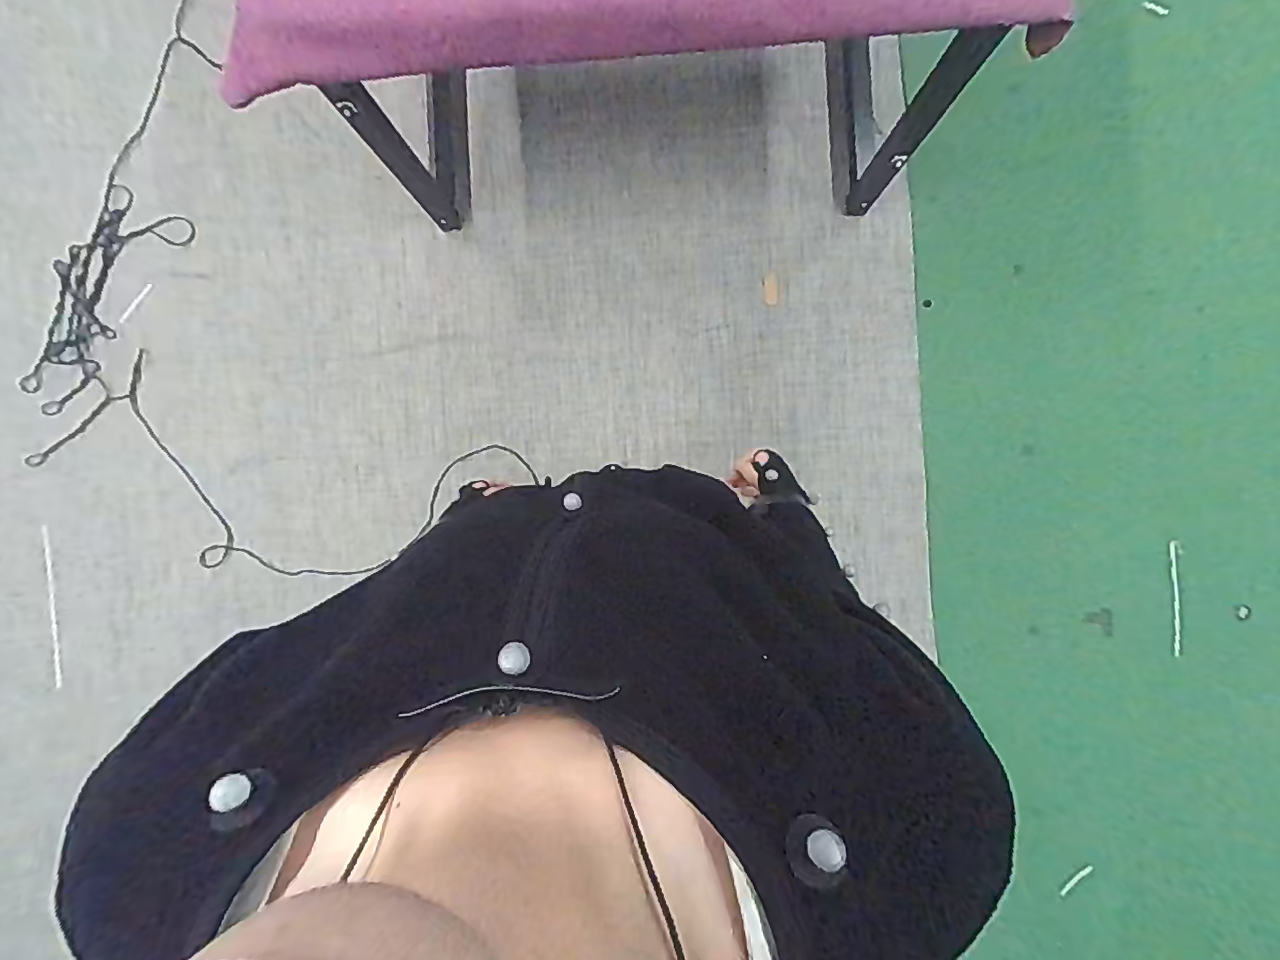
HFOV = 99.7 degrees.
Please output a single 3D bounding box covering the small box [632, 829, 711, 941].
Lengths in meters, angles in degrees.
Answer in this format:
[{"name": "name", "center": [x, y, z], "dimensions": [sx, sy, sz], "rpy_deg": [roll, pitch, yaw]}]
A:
[{"name": "small box", "center": [0.082, 1.033, 1.392], "dimensions": [0.179, 0.176, 0.168], "rpy_deg": [-8, 88, 5]}]
